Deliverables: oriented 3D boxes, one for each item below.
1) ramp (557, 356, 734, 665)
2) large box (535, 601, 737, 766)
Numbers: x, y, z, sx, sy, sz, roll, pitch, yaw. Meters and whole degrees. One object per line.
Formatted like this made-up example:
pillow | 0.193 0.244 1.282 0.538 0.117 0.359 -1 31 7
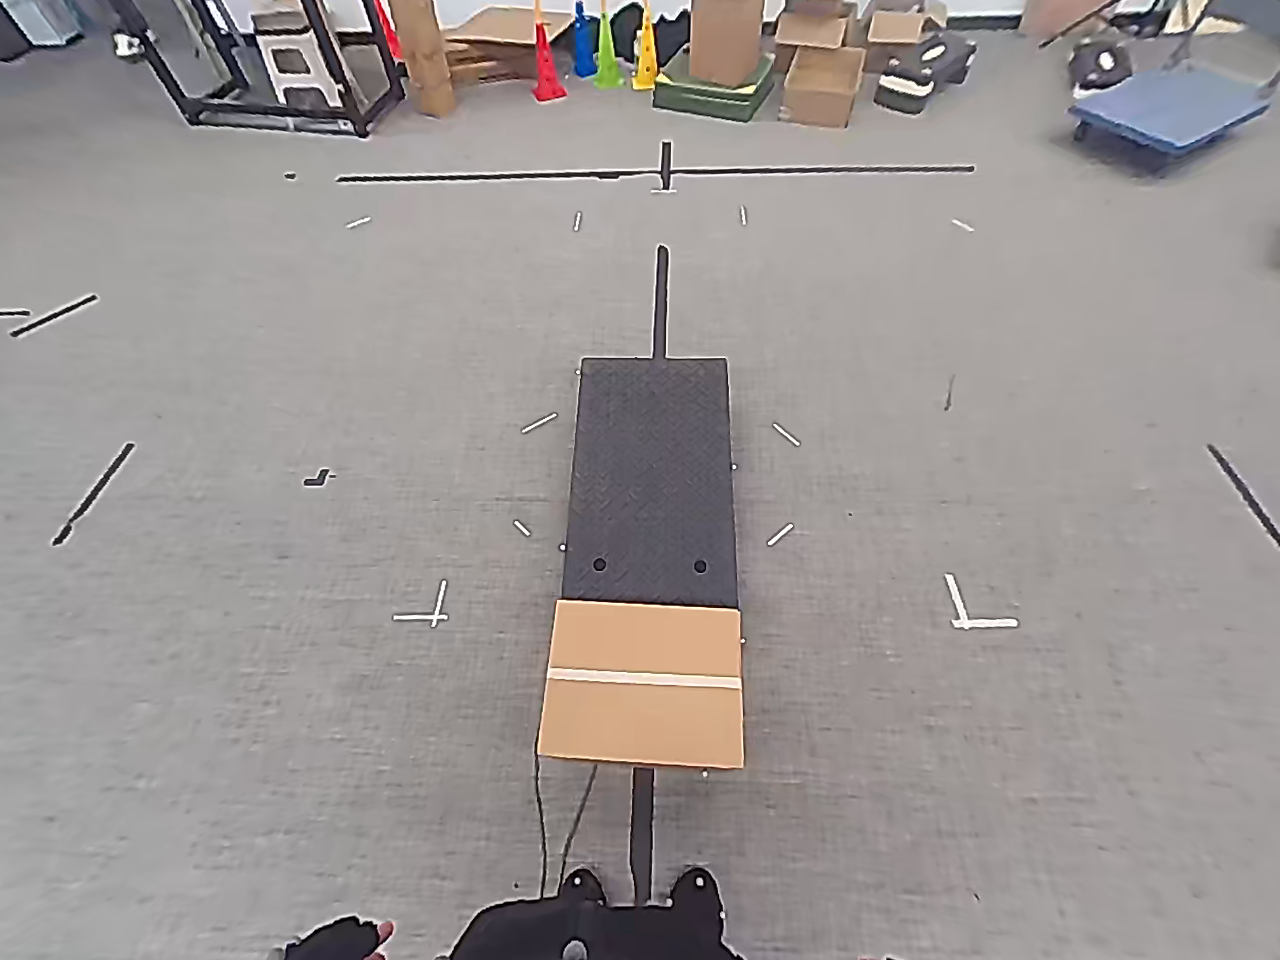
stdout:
ramp | 0.025 0.045 1.629 0.509 0.206 0.991 1 57 0
large box | 0.001 0.481 1.256 0.408 0.320 0.320 3 60 2
